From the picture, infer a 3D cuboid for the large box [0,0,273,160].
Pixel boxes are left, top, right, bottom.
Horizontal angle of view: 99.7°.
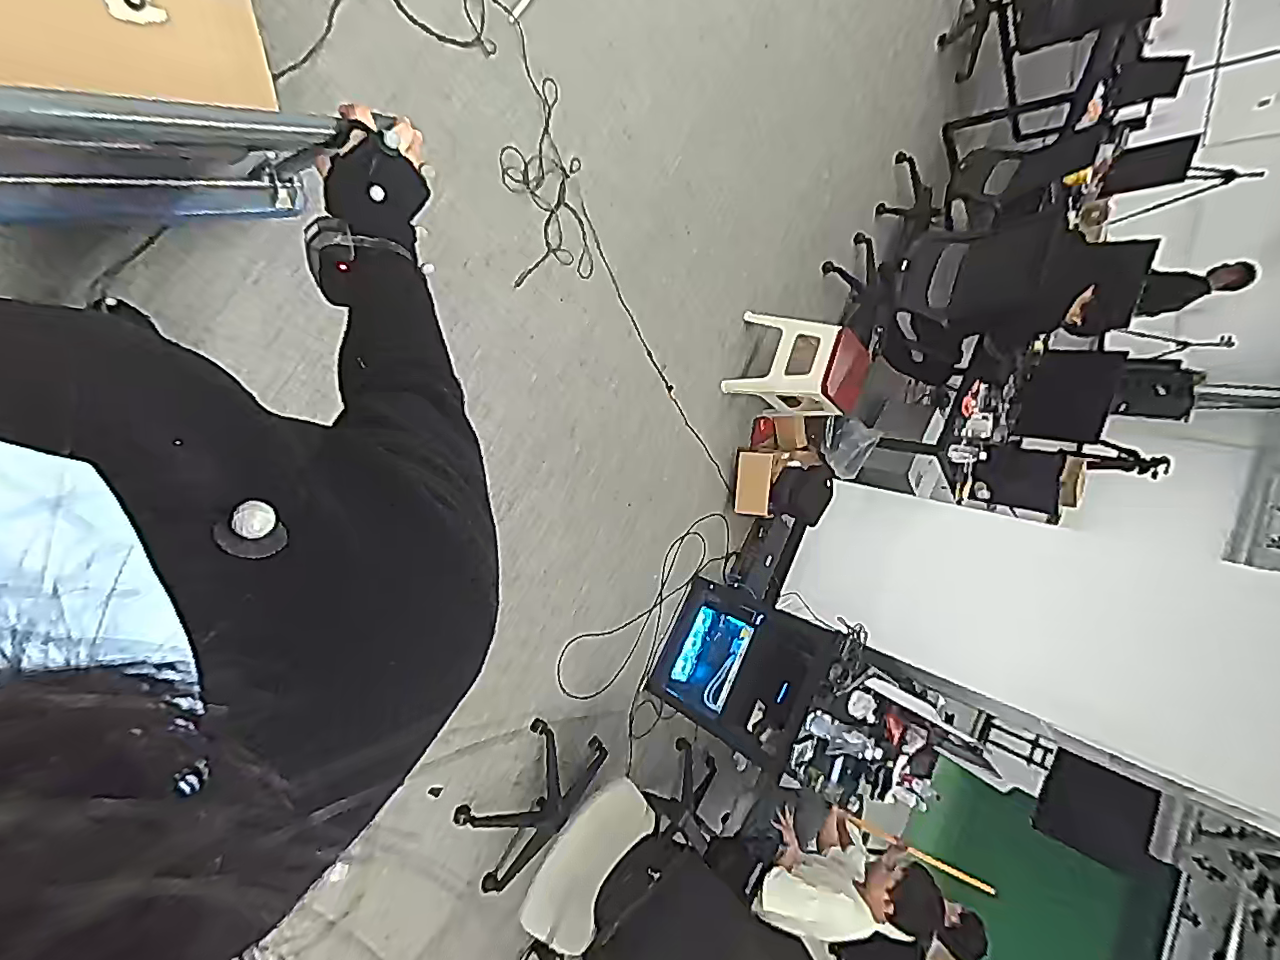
[{"bbox_3d":[-0.812,-0.648,0.736,0.408,0.320,0.320,-25,119,-40],"label":"large box"}]
